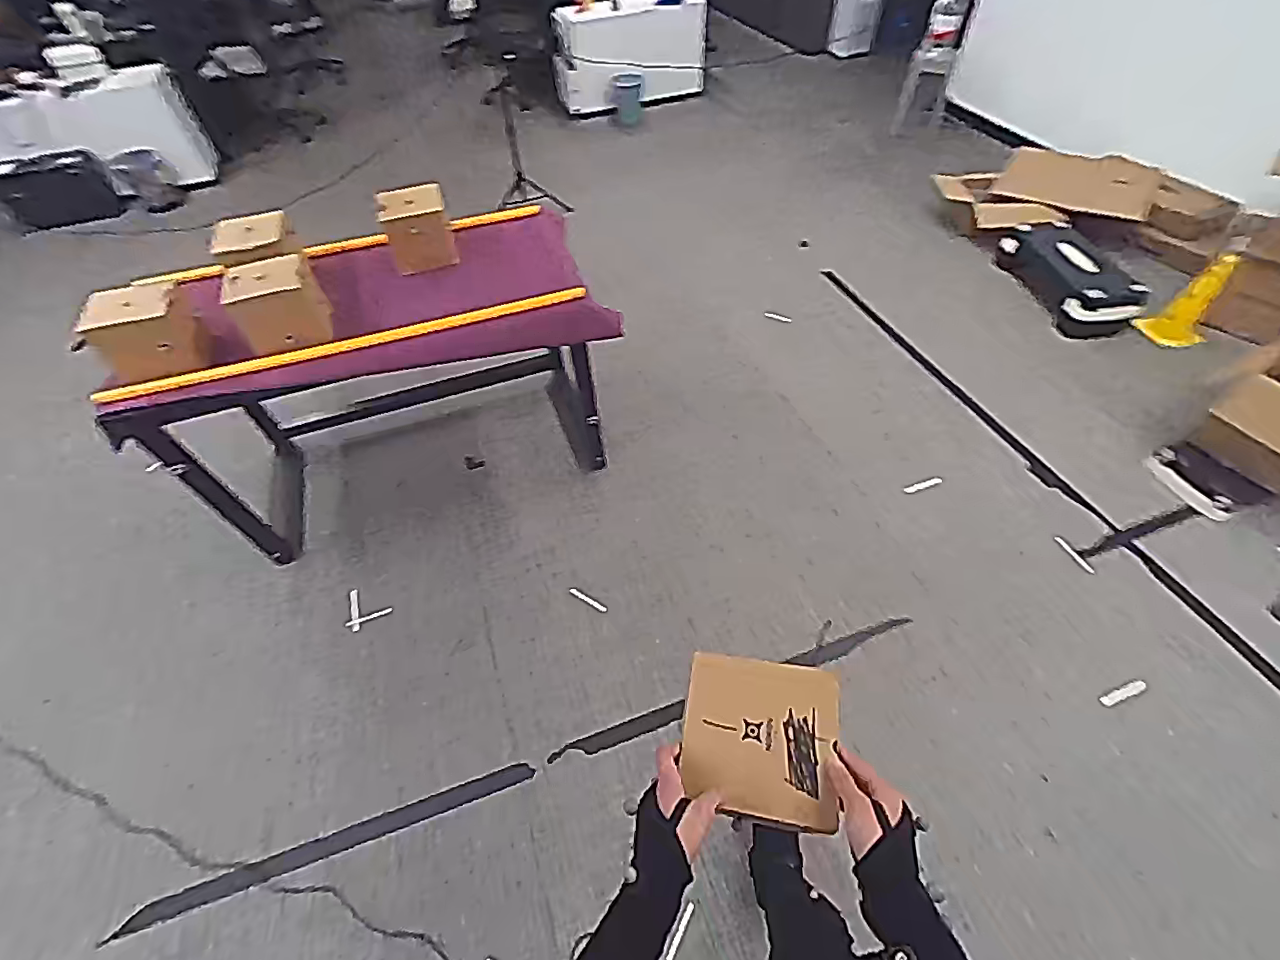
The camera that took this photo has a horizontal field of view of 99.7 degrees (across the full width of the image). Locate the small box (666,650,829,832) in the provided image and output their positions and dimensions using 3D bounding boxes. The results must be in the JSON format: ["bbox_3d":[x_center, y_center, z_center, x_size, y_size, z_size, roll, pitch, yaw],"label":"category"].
[{"bbox_3d":[0.131,0.334,0.692,0.179,0.176,0.168,7,58,8],"label":"small box"}]

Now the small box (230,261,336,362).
[{"bbox_3d":[-0.906,-0.432,1.392,0.179,0.176,0.168,-17,53,-11],"label":"small box"}]

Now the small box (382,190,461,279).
[{"bbox_3d":[-0.644,-0.730,1.612,0.179,0.176,0.168,-17,54,-9],"label":"small box"}]

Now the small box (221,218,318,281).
[{"bbox_3d":[-1.044,-0.613,1.540,0.168,0.176,0.179,-16,55,-9],"label":"small box"}]

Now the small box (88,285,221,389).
[{"bbox_3d":[-1.186,-0.352,1.341,0.179,0.176,0.168,-16,52,-12],"label":"small box"}]
